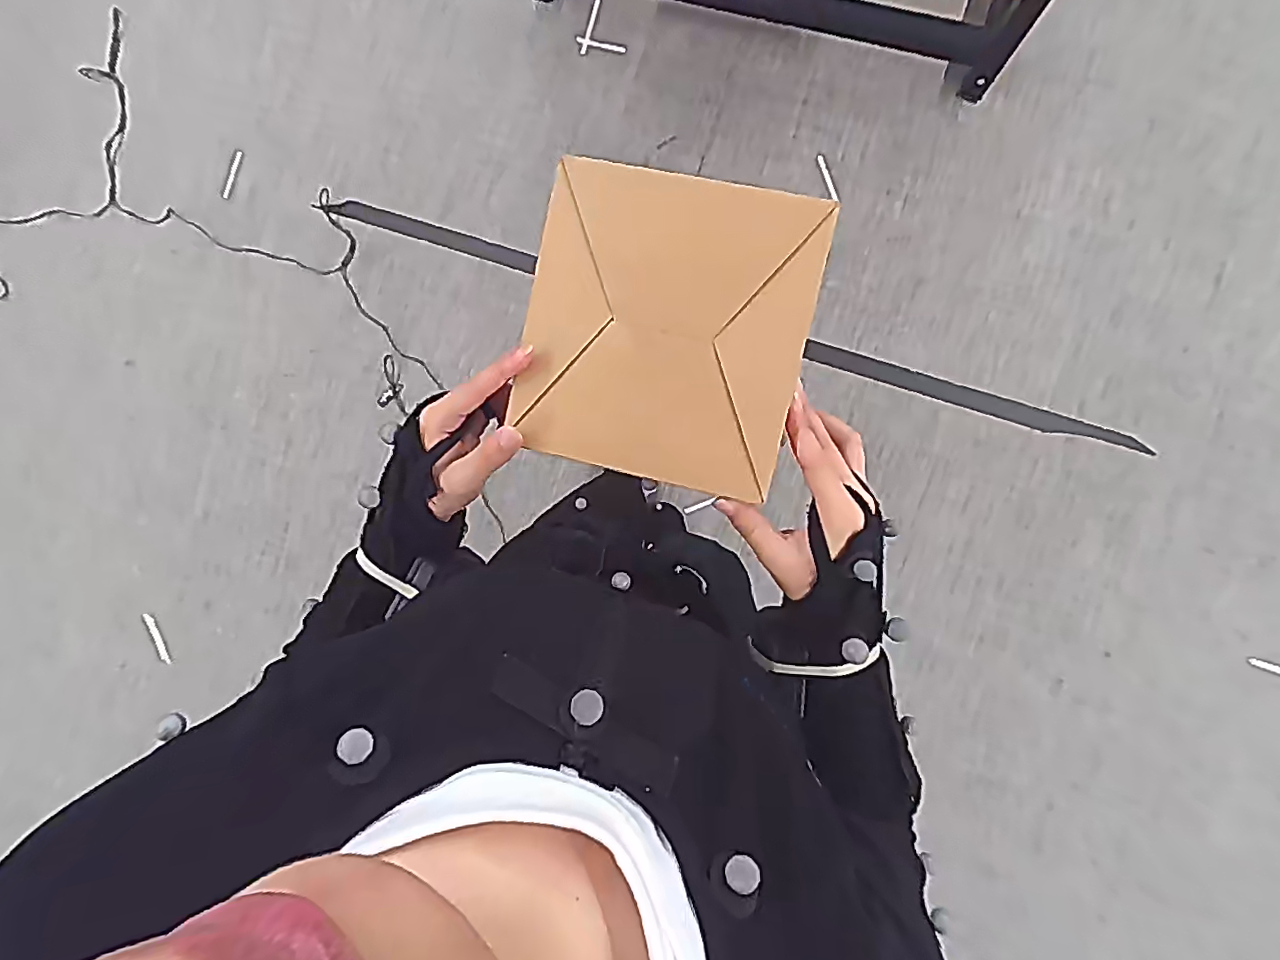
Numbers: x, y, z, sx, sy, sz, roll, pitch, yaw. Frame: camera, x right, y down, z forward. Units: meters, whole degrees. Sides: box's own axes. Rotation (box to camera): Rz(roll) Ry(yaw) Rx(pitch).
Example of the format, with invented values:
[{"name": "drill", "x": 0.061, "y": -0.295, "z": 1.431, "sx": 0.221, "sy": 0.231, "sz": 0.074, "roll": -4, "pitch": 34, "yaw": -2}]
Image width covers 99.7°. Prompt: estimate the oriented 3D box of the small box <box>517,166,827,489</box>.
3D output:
[{"name": "small box", "x": 0.024, "y": -0.093, "z": 0.402, "sx": 0.168, "sy": 0.176, "sz": 0.179, "roll": 14, "pitch": 95, "yaw": 6}]
